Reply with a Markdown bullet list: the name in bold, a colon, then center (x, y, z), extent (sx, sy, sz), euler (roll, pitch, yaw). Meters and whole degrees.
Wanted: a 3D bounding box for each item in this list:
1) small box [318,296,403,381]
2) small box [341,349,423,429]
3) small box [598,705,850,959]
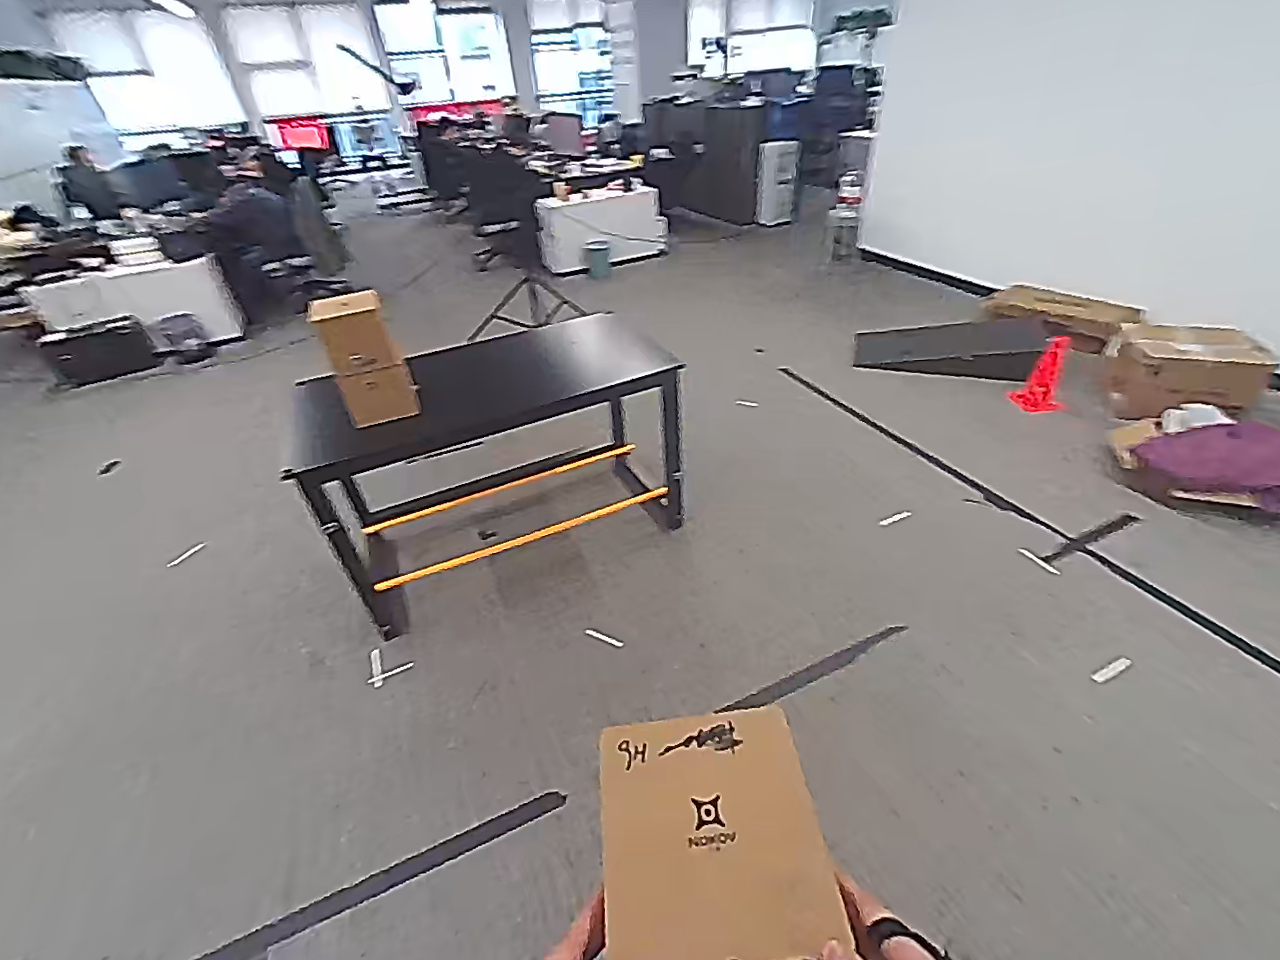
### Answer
- **small box**: center (-0.787, -0.400, 1.529), extent (0.168, 0.176, 0.179), euler (-20, 40, -17)
- **small box**: center (-0.775, -0.272, 1.629), extent (0.179, 0.176, 0.168), euler (-17, 39, -17)
- **small box**: center (0.060, 0.327, 0.466), extent (0.168, 0.176, 0.179), euler (-8, 39, -1)
